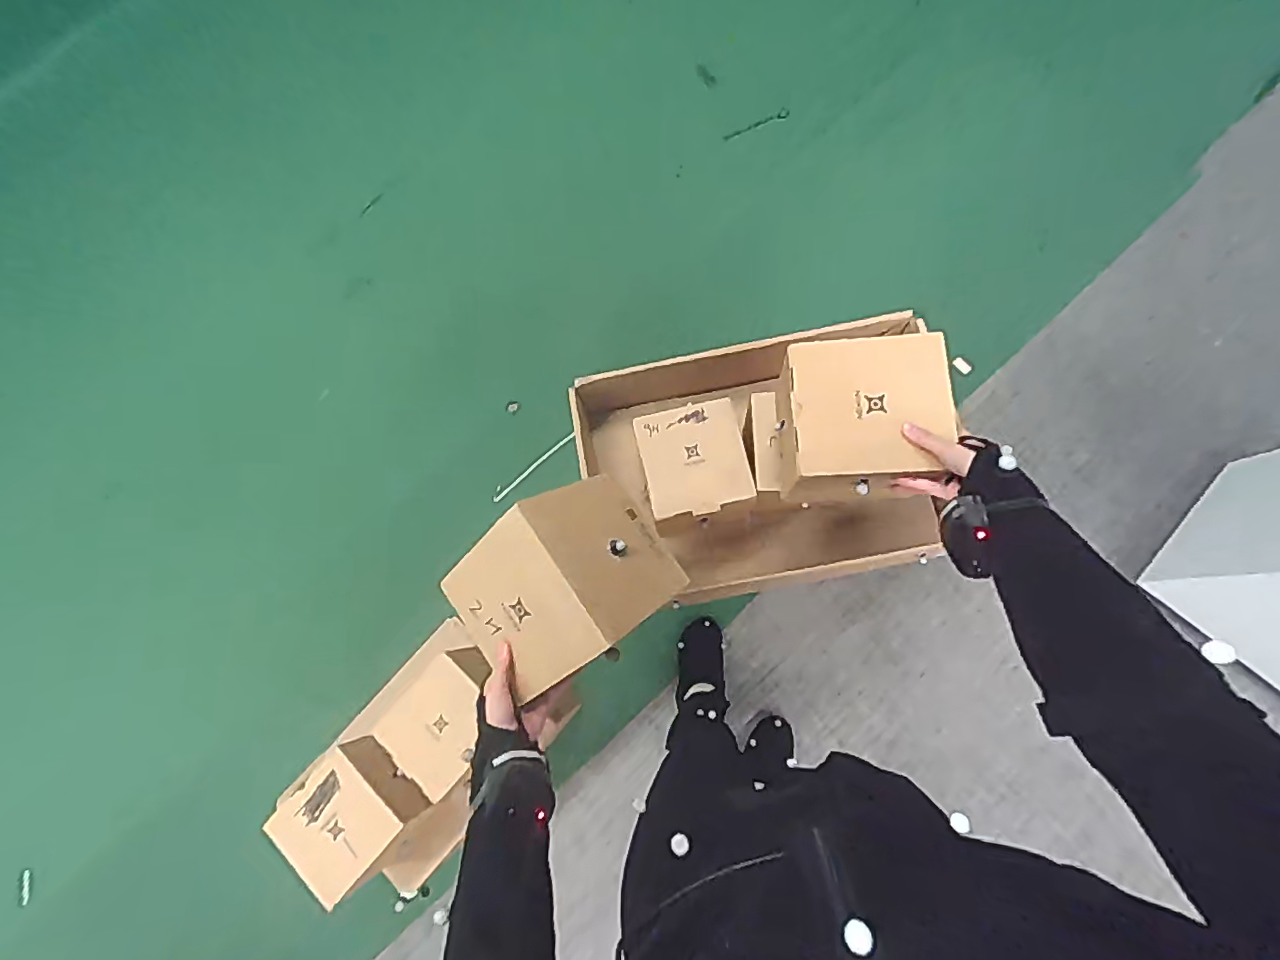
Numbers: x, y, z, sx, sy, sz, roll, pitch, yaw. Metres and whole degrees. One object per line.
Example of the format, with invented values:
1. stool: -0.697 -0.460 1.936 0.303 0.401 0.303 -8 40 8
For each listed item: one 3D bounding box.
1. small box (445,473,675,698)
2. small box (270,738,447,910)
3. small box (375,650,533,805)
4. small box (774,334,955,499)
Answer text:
1. small box: -0.082 0.111 0.624 0.179 0.176 0.168 -41 78 33
2. small box: -0.478 0.575 0.942 0.179 0.176 0.168 41 82 13
3. small box: -0.319 0.427 0.967 0.168 0.176 0.179 41 82 12
4. small box: 0.273 -0.071 0.699 0.179 0.176 0.168 -3 77 9
